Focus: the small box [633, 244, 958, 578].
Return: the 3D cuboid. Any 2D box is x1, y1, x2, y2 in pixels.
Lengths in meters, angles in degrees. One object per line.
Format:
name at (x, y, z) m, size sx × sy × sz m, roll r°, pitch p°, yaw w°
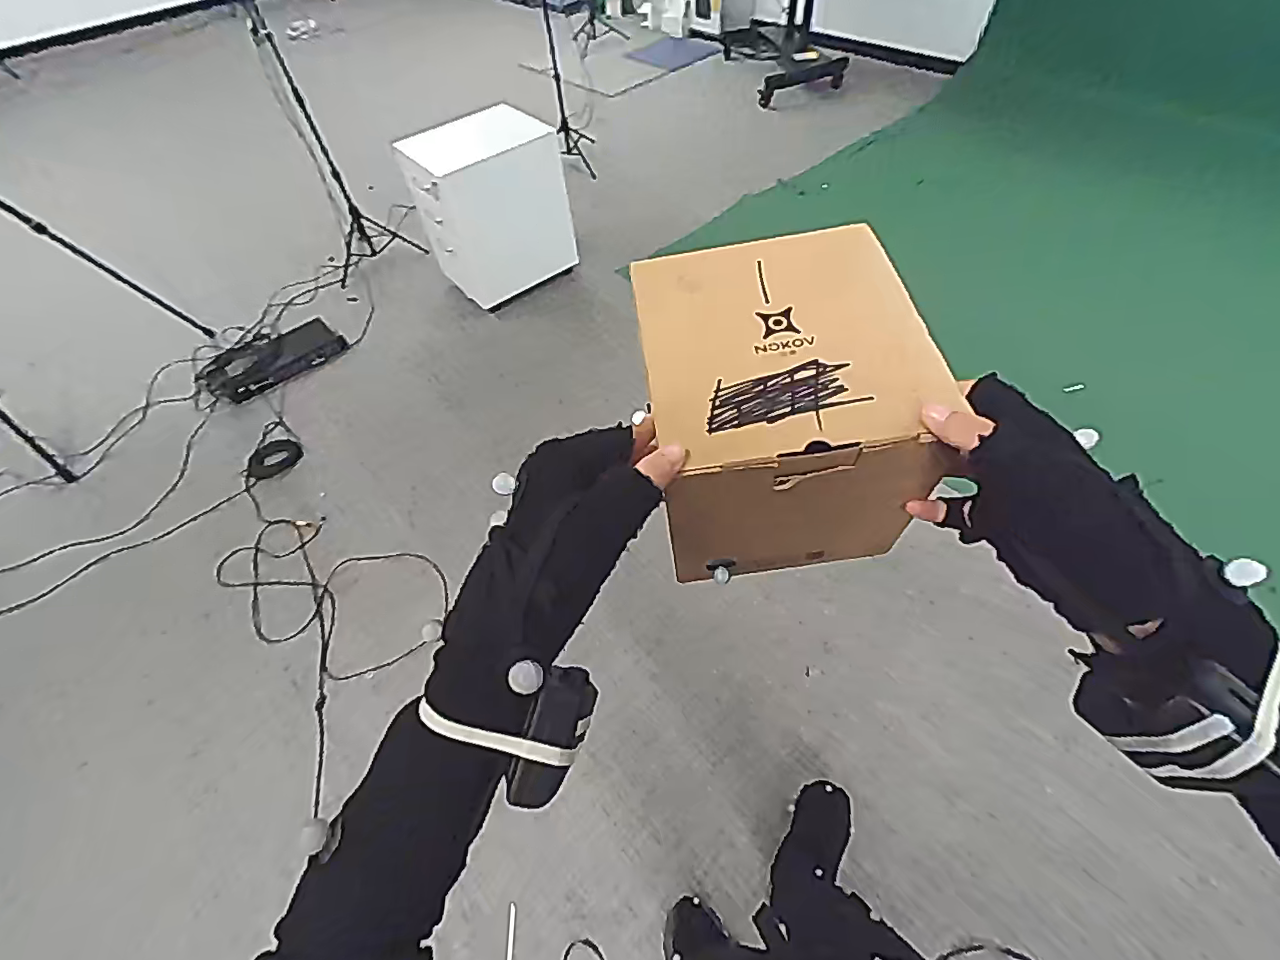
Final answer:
small box at (0.092, -0.038, 0.401) m, size 0.168 × 0.176 × 0.179 m, roll -8°, pitch 58°, yaw 2°
